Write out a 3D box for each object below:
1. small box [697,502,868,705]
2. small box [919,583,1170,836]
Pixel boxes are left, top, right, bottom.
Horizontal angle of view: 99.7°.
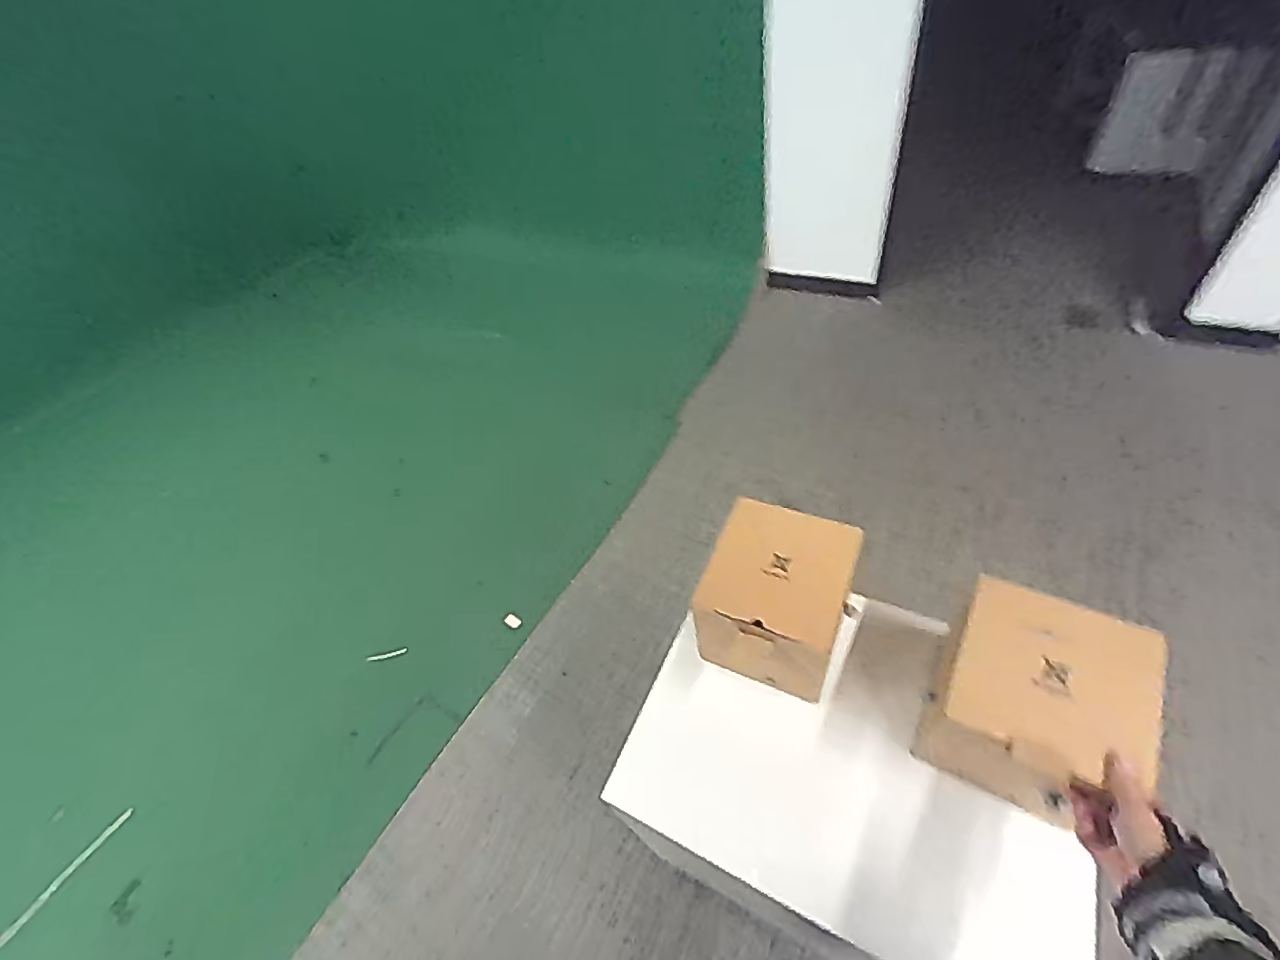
[{"bbox_3d":[0.187,0.164,0.720,0.168,0.176,0.179,16,56,24],"label":"small box"},{"bbox_3d":[0.421,0.250,0.587,0.168,0.176,0.179,20,58,27],"label":"small box"}]
